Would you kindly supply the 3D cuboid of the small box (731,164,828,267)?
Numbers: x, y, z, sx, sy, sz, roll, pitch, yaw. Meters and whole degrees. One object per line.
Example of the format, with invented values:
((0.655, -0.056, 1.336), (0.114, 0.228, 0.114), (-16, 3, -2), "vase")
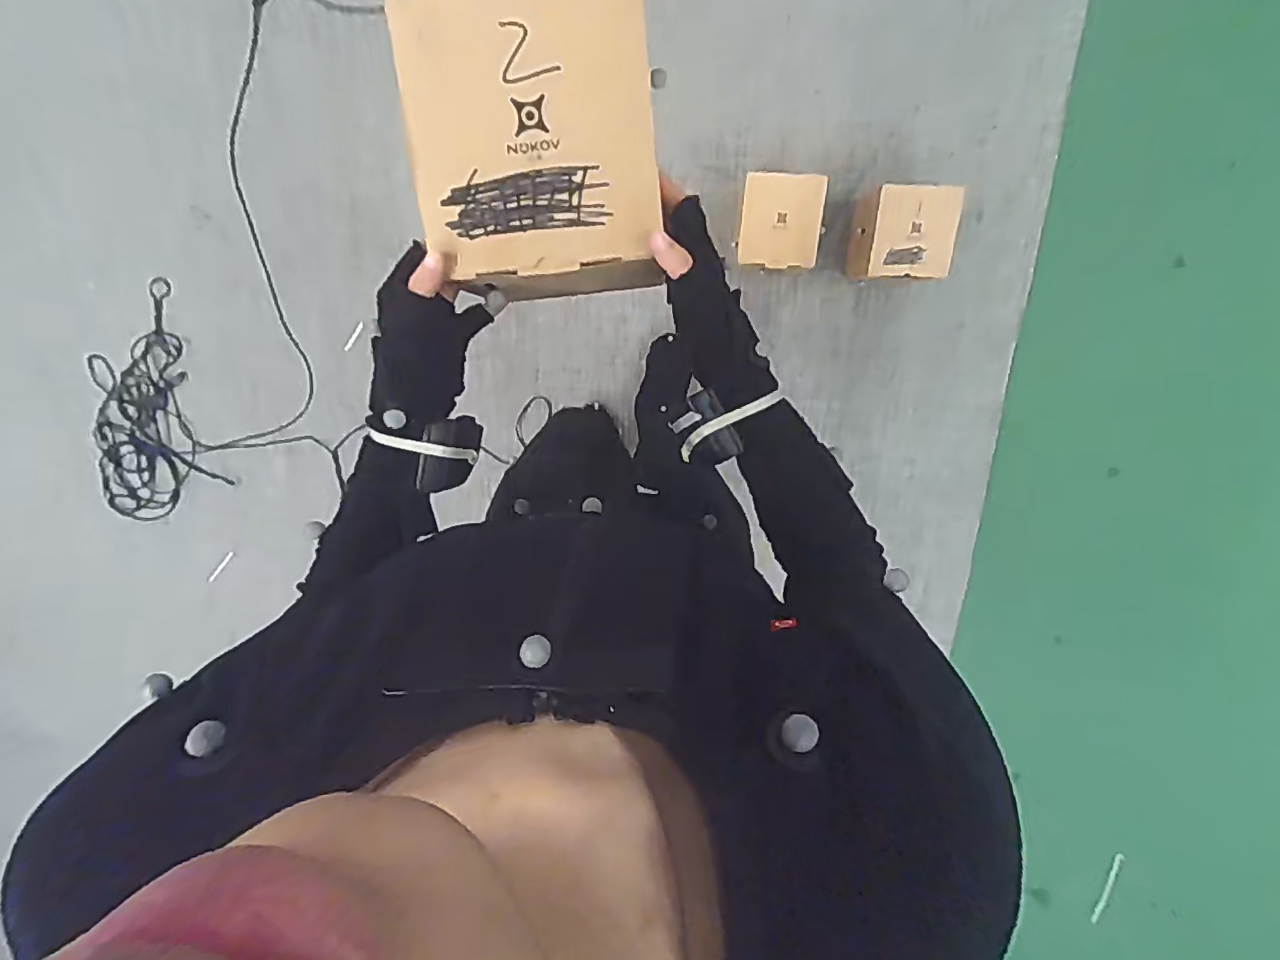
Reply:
((0.294, -0.569, 1.181), (0.168, 0.176, 0.179), (4, 109, 3), "small box")

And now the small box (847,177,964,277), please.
((0.561, -0.539, 1.170), (0.168, 0.176, 0.179), (4, 108, 3), "small box")
